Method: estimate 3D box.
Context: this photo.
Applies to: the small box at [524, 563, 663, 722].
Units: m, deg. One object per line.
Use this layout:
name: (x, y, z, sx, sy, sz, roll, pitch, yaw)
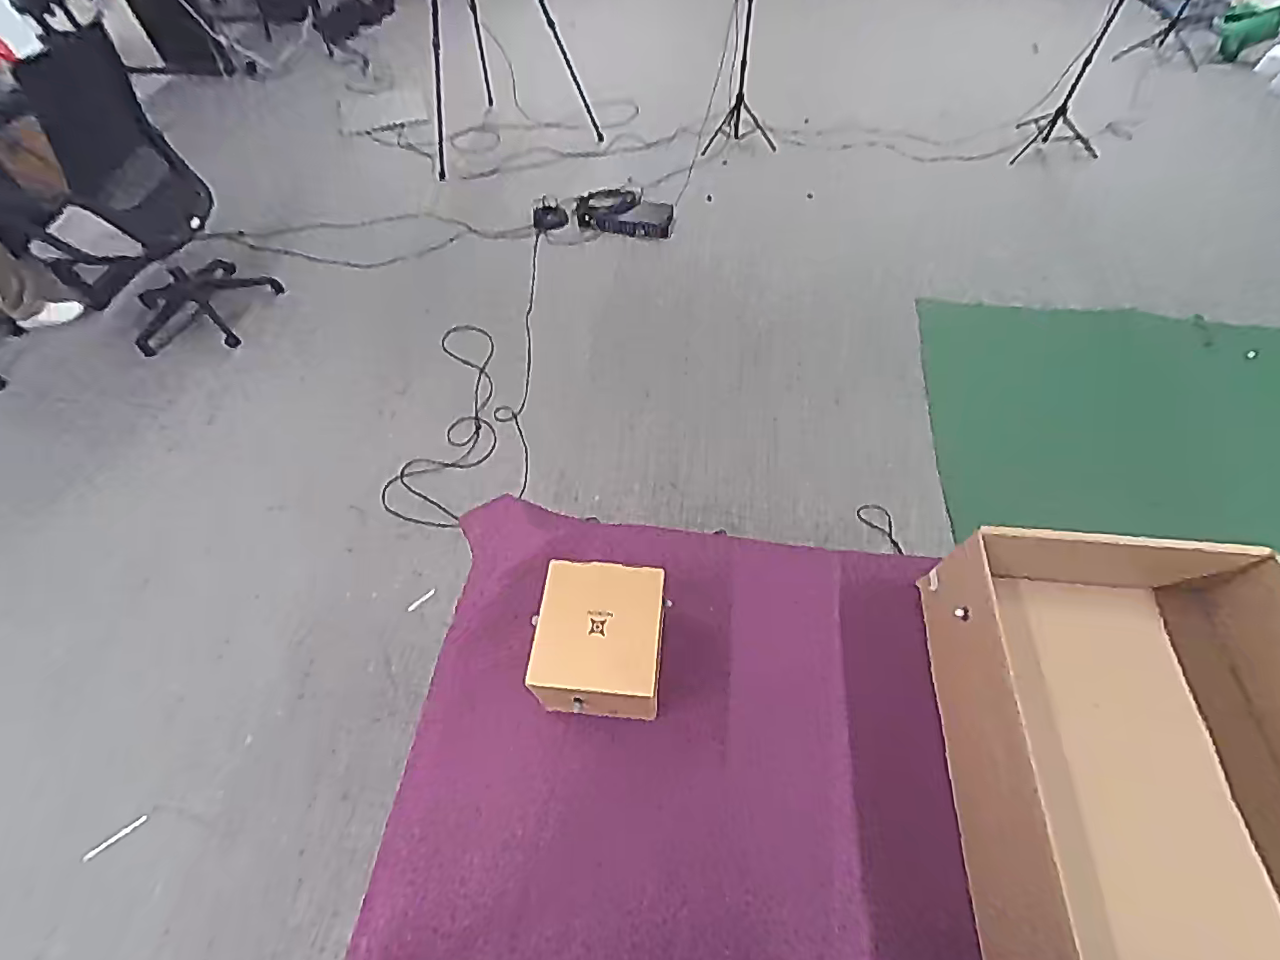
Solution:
small box: (-0.055, 0.241, 0.786, 0.168, 0.176, 0.179, 4, 55, 5)
